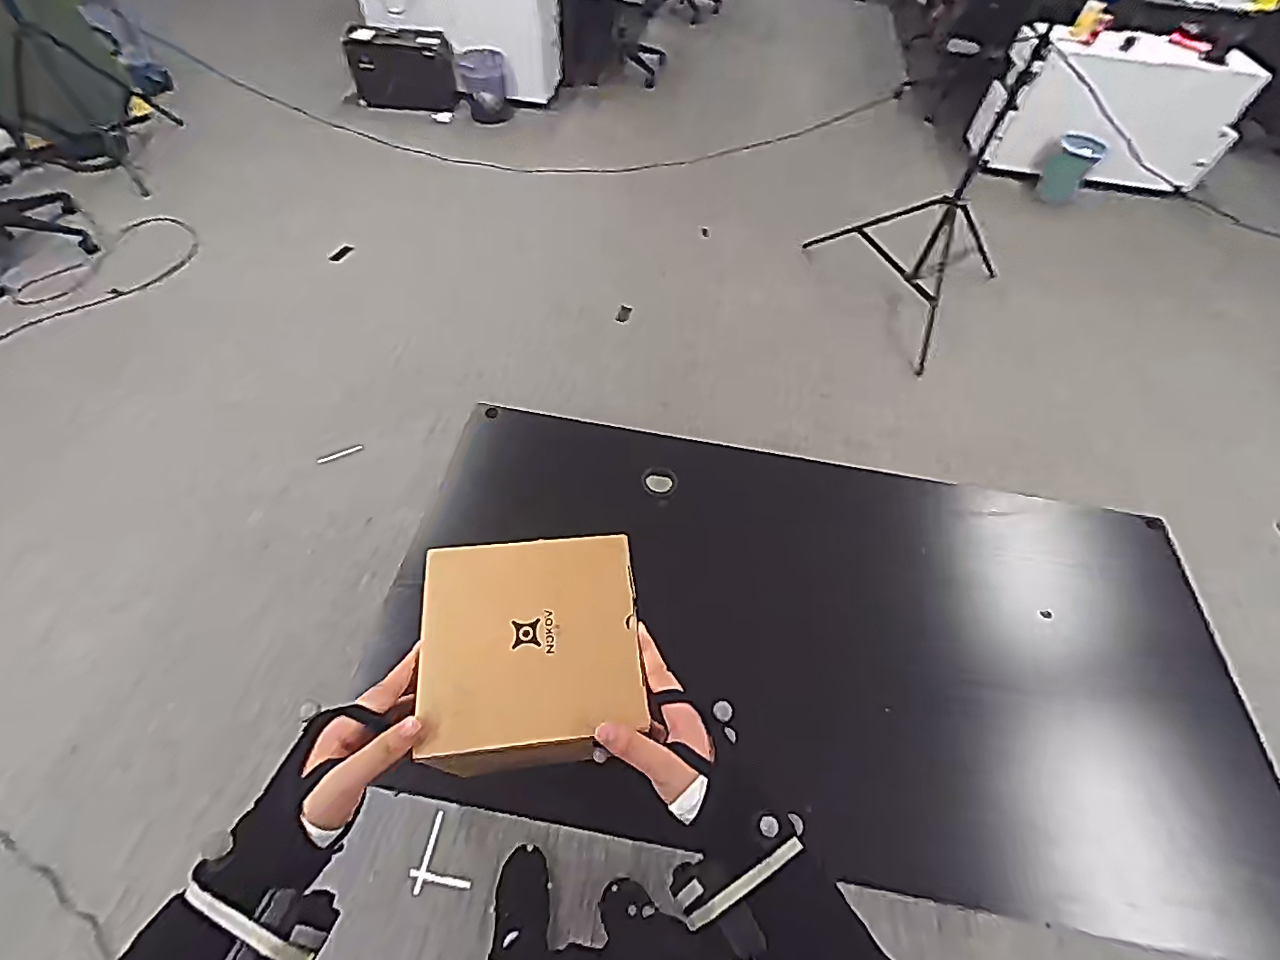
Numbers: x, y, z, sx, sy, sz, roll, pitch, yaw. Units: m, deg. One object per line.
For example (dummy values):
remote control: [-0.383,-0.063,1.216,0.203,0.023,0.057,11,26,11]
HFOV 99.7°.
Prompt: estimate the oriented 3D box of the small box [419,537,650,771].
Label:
small box: [-0.094,0.169,0.514,0.179,0.176,0.168,-4,59,-9]
